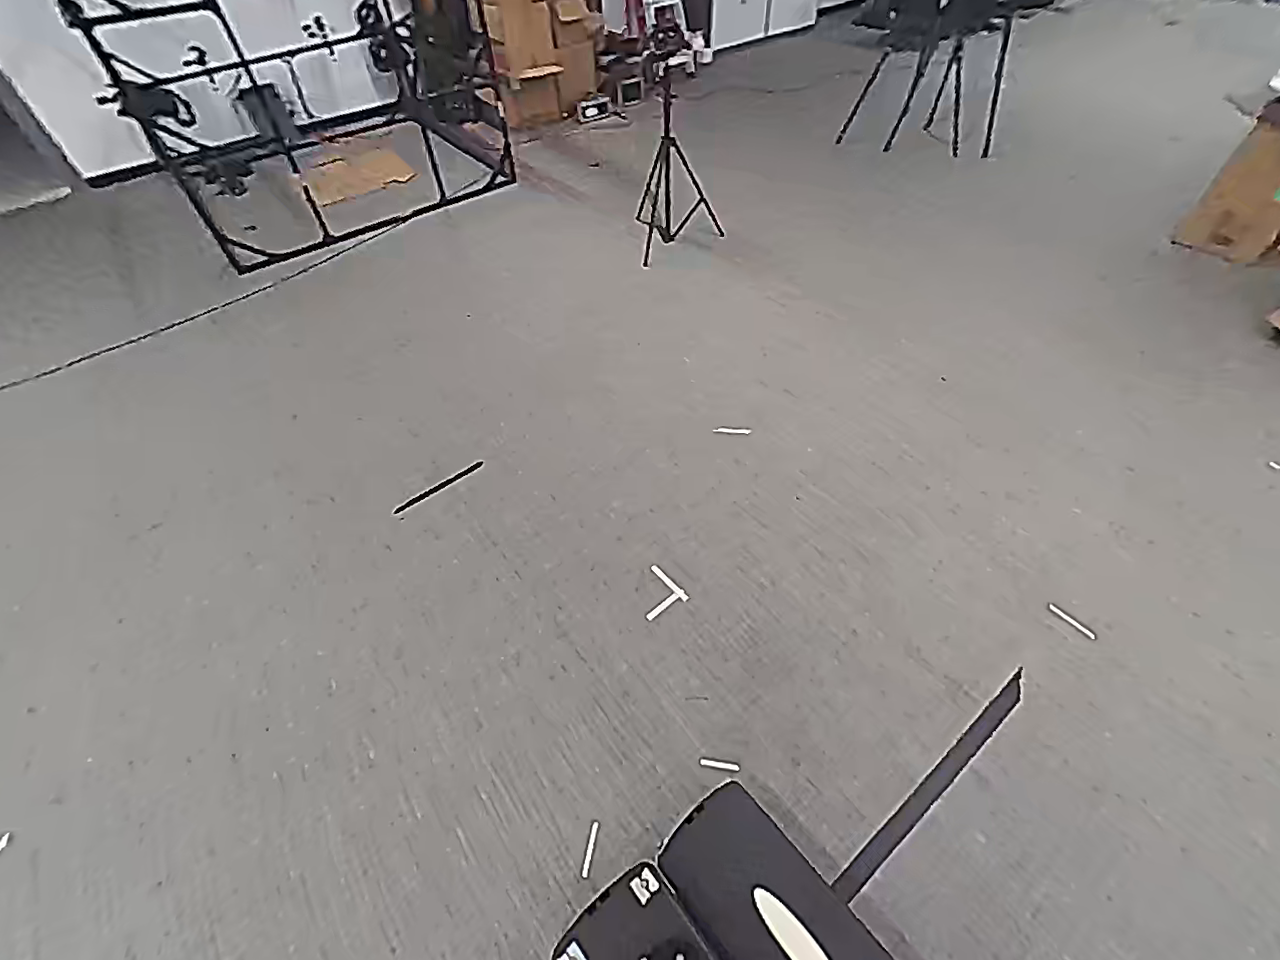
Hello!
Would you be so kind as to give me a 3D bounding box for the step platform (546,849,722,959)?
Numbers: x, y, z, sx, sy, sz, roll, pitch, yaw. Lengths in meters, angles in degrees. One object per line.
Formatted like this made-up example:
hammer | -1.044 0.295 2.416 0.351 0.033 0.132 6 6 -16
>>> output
step platform | 0.101 1.138 1.085 0.286 0.204 0.684 -34 55 -23
